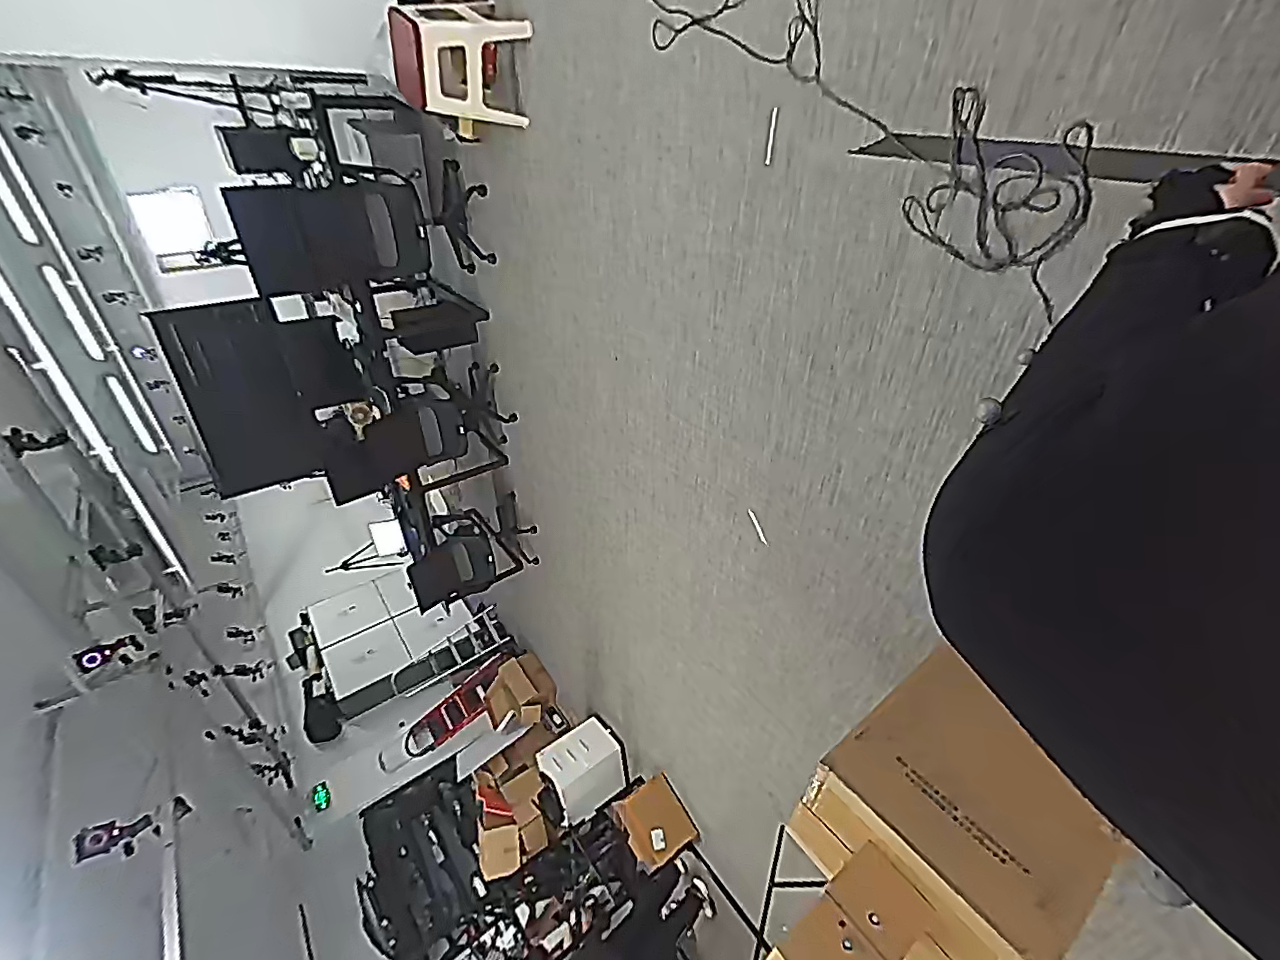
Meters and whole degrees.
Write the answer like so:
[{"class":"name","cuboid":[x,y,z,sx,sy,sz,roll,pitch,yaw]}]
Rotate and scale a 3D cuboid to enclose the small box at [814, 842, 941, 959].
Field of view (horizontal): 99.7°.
[{"class":"small box","cuboid":[0.527,0.964,1.204,0.179,0.176,0.168,41,140,39]}]
